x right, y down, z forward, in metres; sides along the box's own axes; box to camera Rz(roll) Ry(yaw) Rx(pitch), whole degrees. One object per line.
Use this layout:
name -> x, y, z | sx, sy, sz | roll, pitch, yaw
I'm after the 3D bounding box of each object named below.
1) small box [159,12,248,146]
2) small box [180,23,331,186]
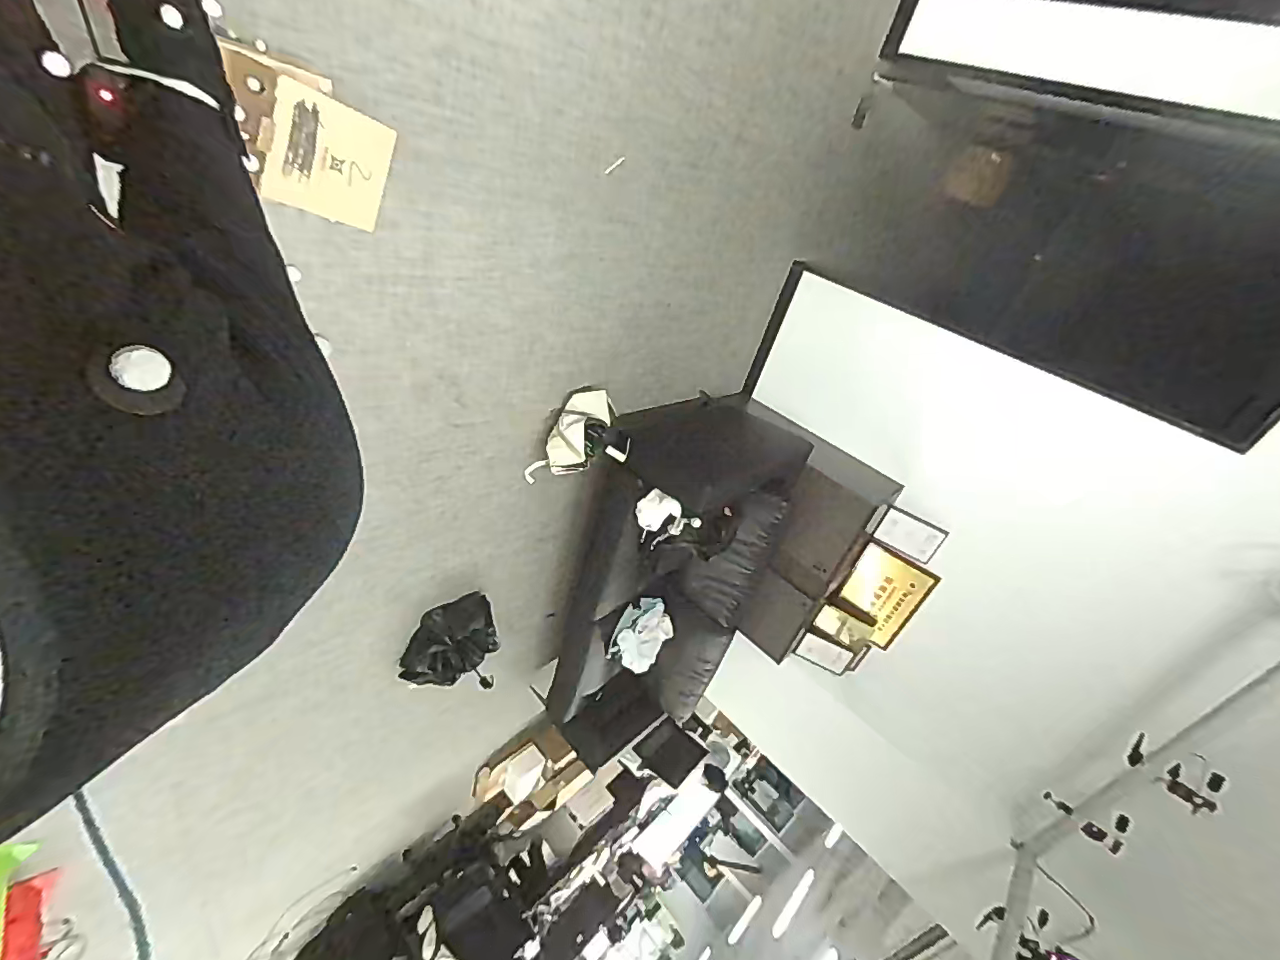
small box -> -0.756, -0.712, 0.995 | 0.168, 0.176, 0.179 | -14, 134, -50
small box -> -0.653, -0.635, 0.922 | 0.168, 0.176, 0.179 | -17, 137, -48
